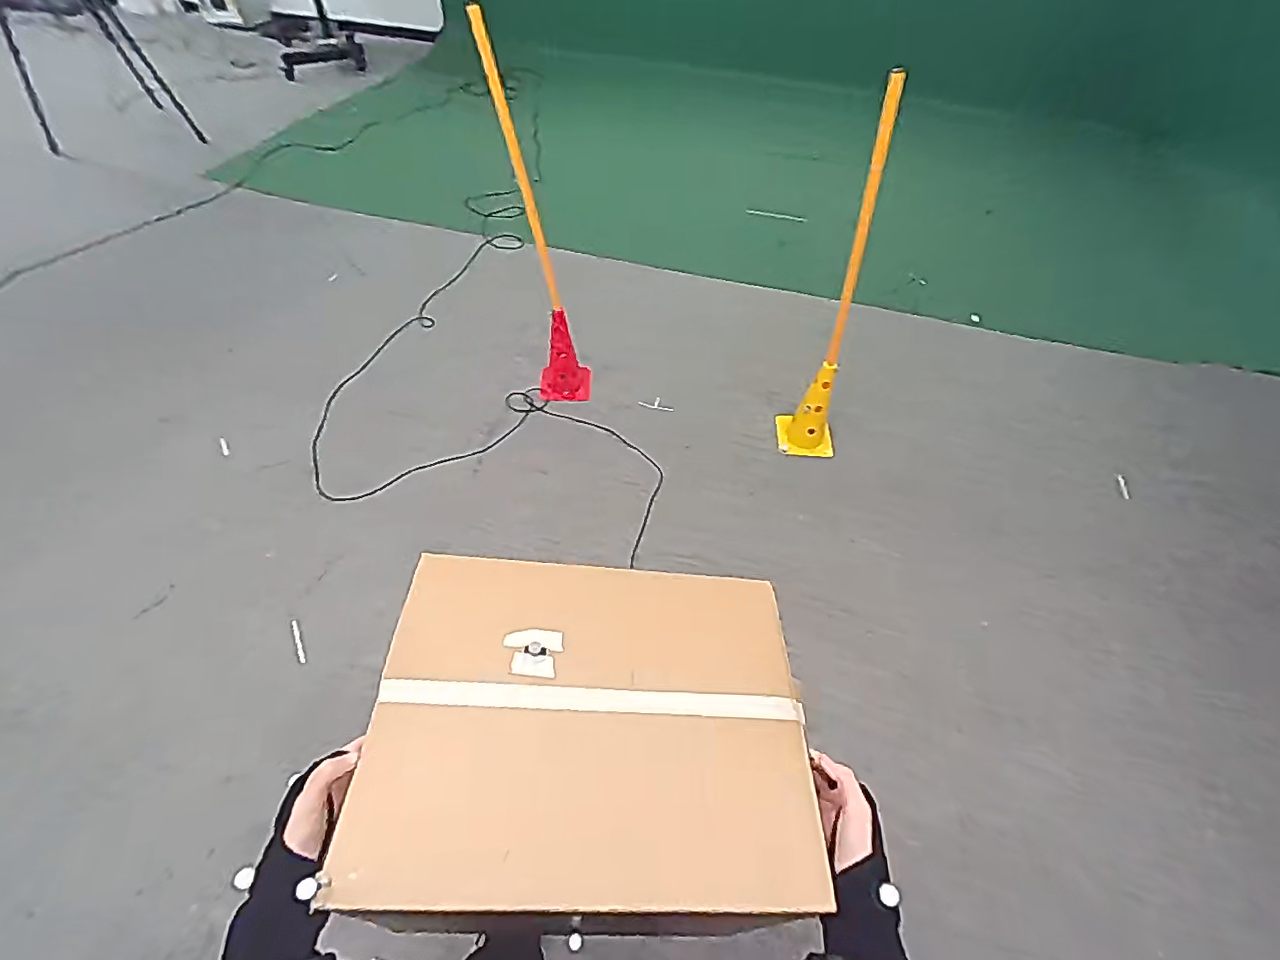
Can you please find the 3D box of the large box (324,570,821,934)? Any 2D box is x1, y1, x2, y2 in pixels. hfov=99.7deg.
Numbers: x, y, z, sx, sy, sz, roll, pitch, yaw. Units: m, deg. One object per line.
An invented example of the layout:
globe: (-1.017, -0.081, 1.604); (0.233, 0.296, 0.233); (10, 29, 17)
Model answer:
large box: (-0.064, 0.326, 0.637); (0.408, 0.320, 0.320); (5, 46, -6)
